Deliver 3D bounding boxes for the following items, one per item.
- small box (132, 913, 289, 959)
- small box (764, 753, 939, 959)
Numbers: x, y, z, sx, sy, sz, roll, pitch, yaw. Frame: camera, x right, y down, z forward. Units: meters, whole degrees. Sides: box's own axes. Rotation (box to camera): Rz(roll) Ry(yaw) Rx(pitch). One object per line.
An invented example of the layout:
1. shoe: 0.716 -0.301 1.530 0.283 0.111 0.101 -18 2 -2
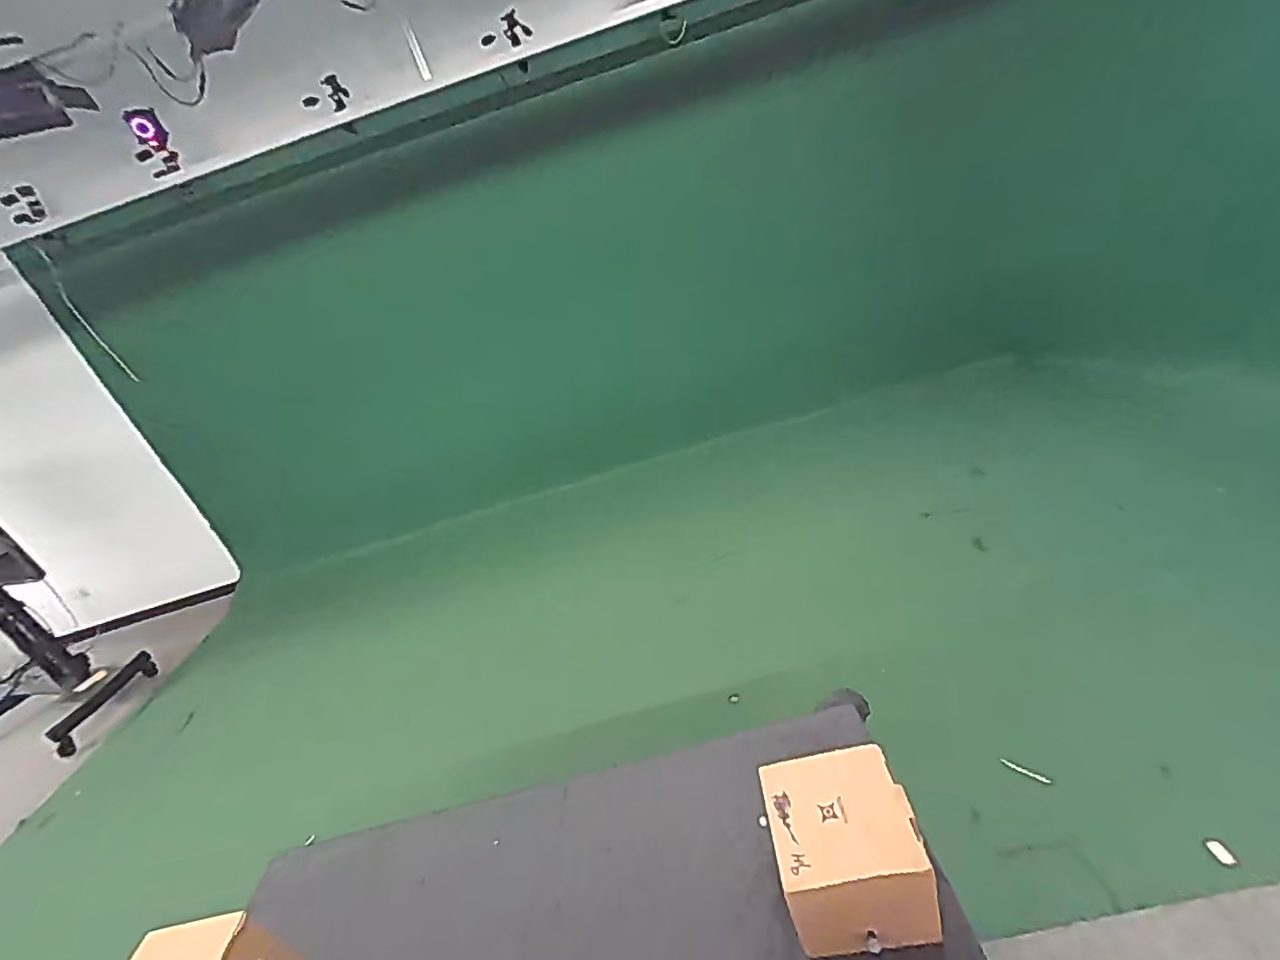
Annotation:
1. small box: -0.656 0.785 0.793 0.179 0.176 0.168 -15 22 7
2. small box: 0.283 0.511 0.738 0.179 0.176 0.168 -15 25 8
